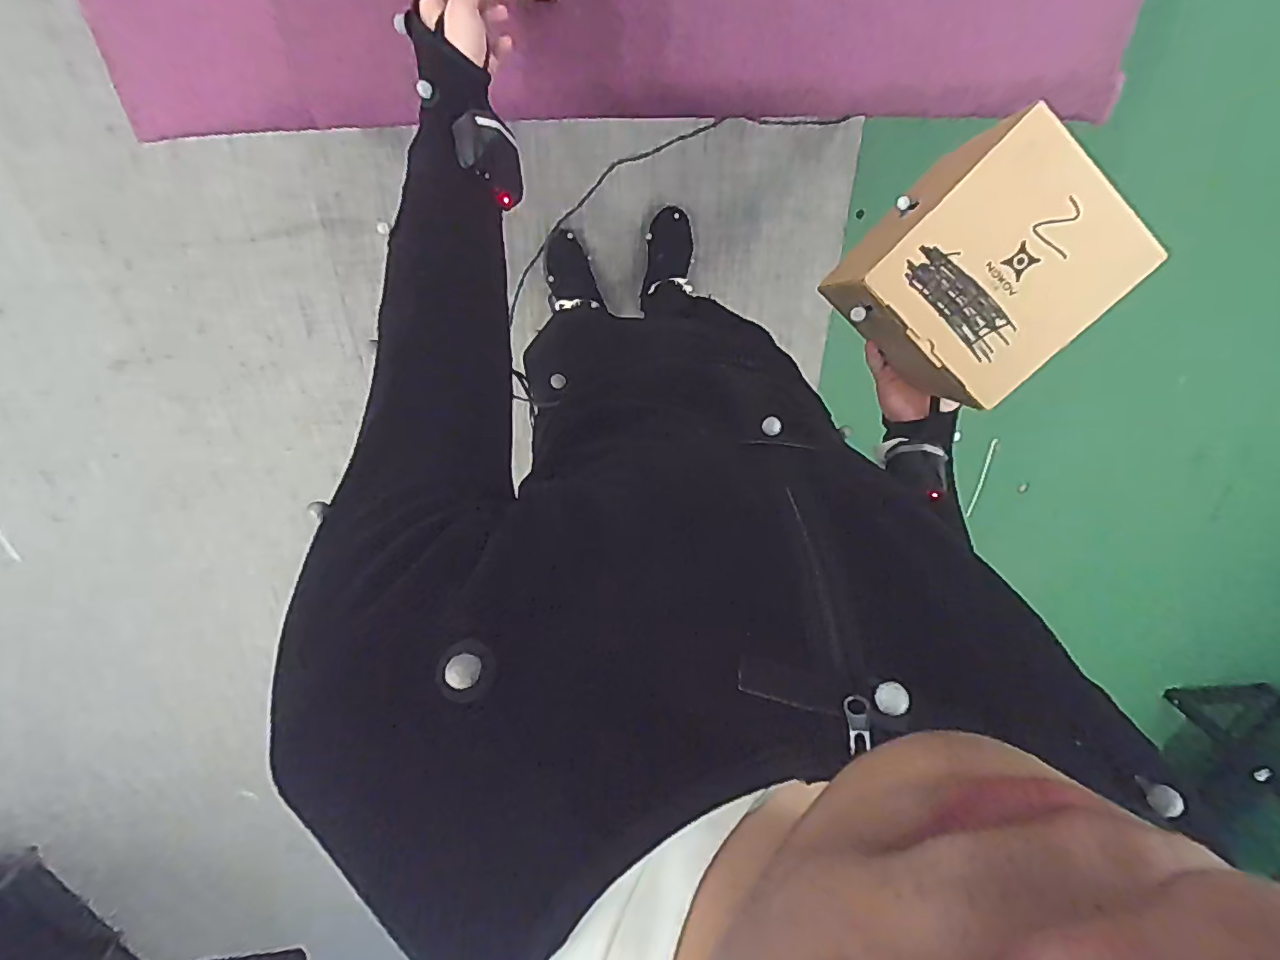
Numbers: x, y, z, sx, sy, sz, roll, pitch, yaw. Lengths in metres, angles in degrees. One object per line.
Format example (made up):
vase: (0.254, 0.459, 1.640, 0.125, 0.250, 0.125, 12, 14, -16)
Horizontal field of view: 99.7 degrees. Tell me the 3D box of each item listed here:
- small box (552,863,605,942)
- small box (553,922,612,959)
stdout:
small box: (-0.198, 1.392, 1.769, 0.168, 0.176, 0.179, -2, 118, -6)
small box: (-0.175, 1.473, 1.628, 0.168, 0.176, 0.179, 6, 116, -10)
